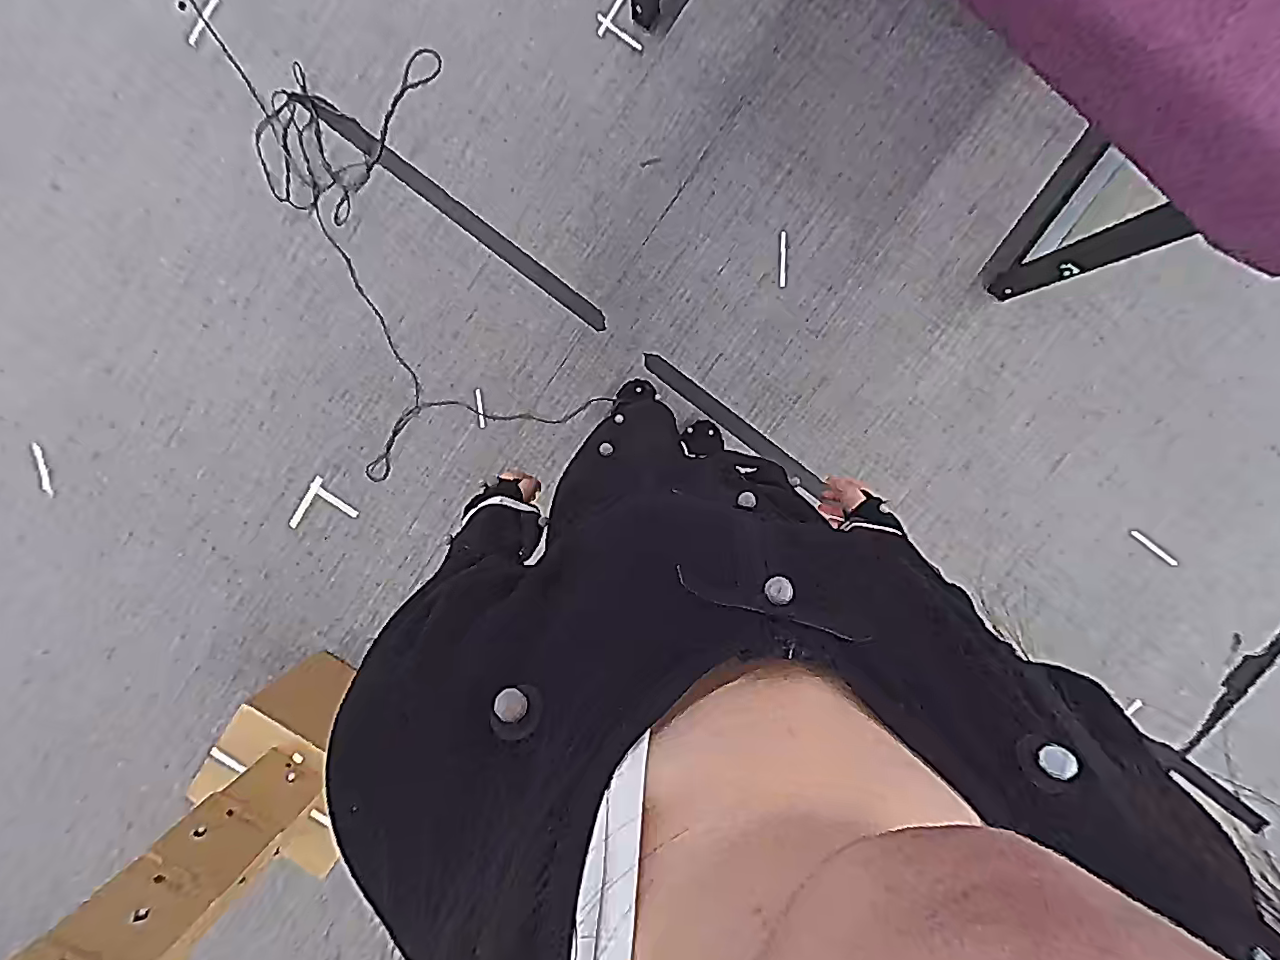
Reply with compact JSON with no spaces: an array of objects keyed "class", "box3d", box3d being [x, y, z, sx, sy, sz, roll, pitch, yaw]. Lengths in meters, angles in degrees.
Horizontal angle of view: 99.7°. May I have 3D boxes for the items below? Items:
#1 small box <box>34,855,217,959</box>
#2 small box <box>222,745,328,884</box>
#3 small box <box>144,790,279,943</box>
[{"class":"small box","box3d":[-0.884,0.803,0.928,0.168,0.176,0.179,28,97,0]},{"class":"small box","box3d":[-0.870,0.764,1.252,0.168,0.176,0.179,33,97,-2]},{"class":"small box","box3d":[-0.878,0.777,1.091,0.168,0.176,0.179,32,98,-1]}]
